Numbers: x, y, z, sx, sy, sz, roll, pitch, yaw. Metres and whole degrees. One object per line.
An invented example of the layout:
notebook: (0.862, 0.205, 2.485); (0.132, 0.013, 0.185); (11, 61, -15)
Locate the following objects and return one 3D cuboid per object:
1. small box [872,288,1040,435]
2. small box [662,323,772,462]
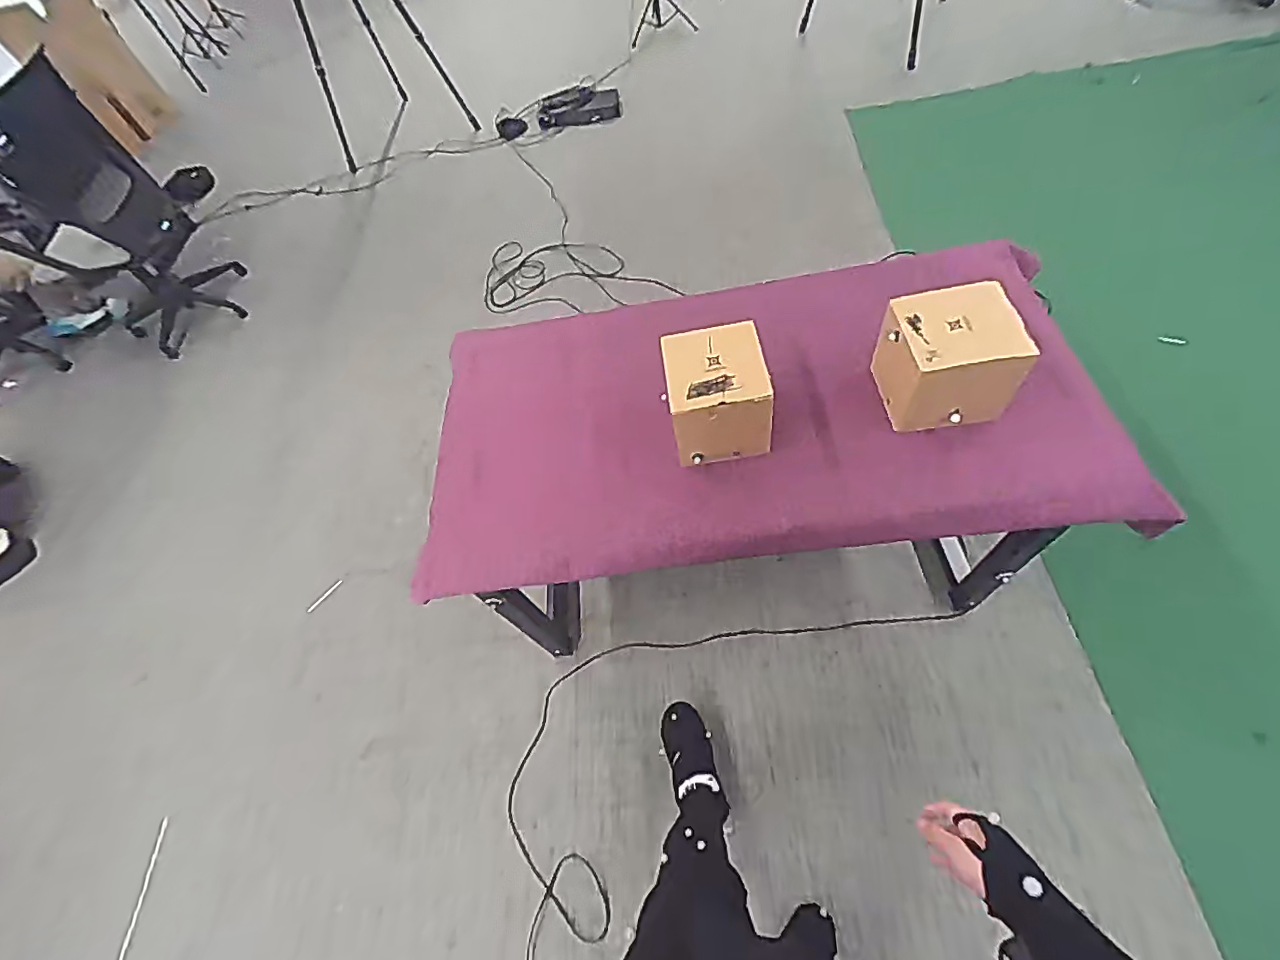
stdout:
small box: (0.522, -0.196, 0.925); (0.179, 0.176, 0.168); (-7, 58, 6)
small box: (0.136, -0.145, 0.962); (0.168, 0.176, 0.179); (-8, 57, 5)
